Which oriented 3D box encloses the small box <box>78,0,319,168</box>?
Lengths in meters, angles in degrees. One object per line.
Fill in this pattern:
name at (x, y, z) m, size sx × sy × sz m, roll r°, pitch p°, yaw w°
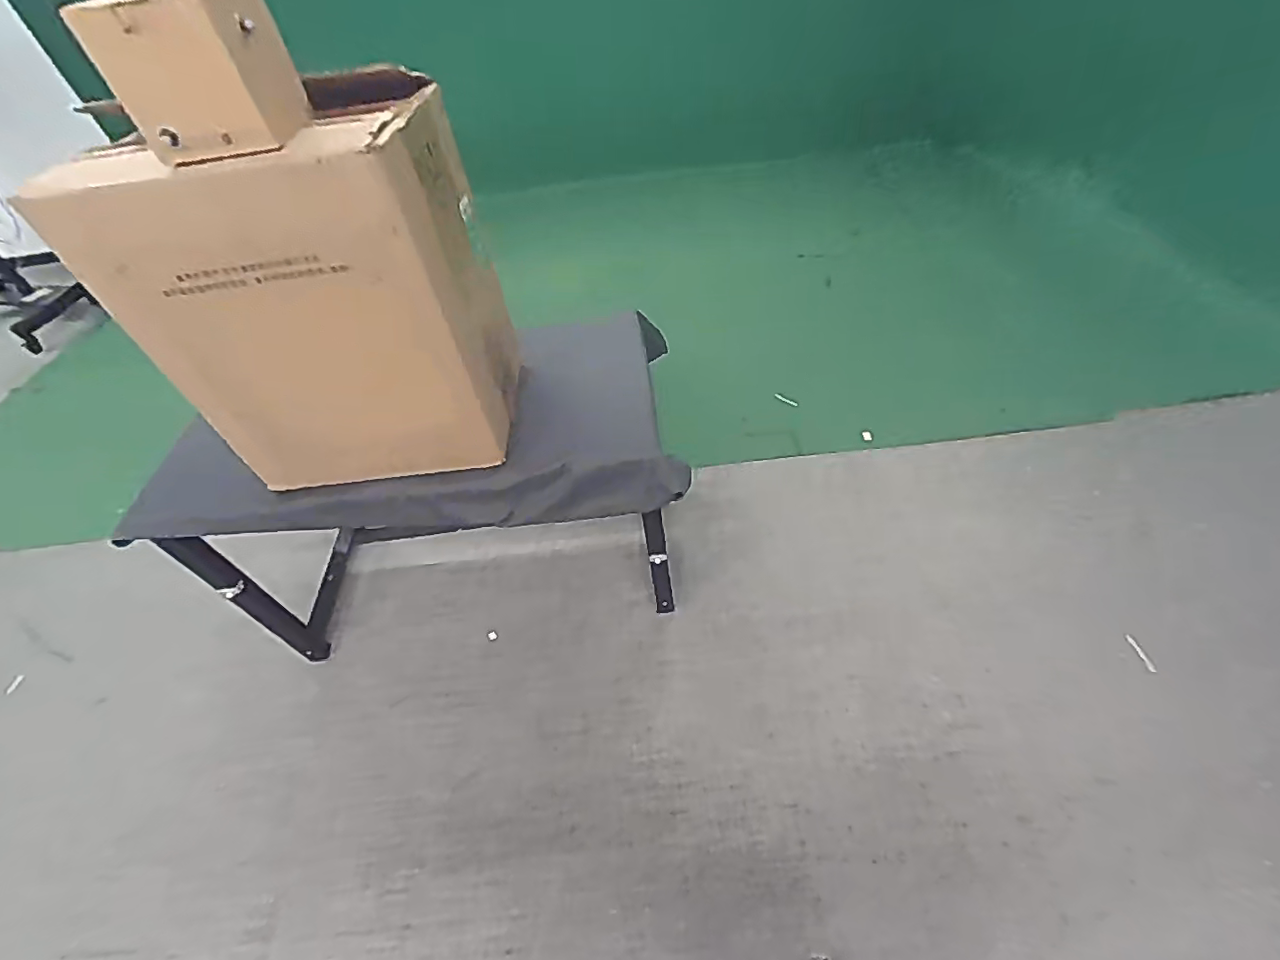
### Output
small box at (-0.590, -0.556, 0.757) m, size 0.168 × 0.176 × 0.179 m, roll -8°, pitch 47°, yaw 1°
